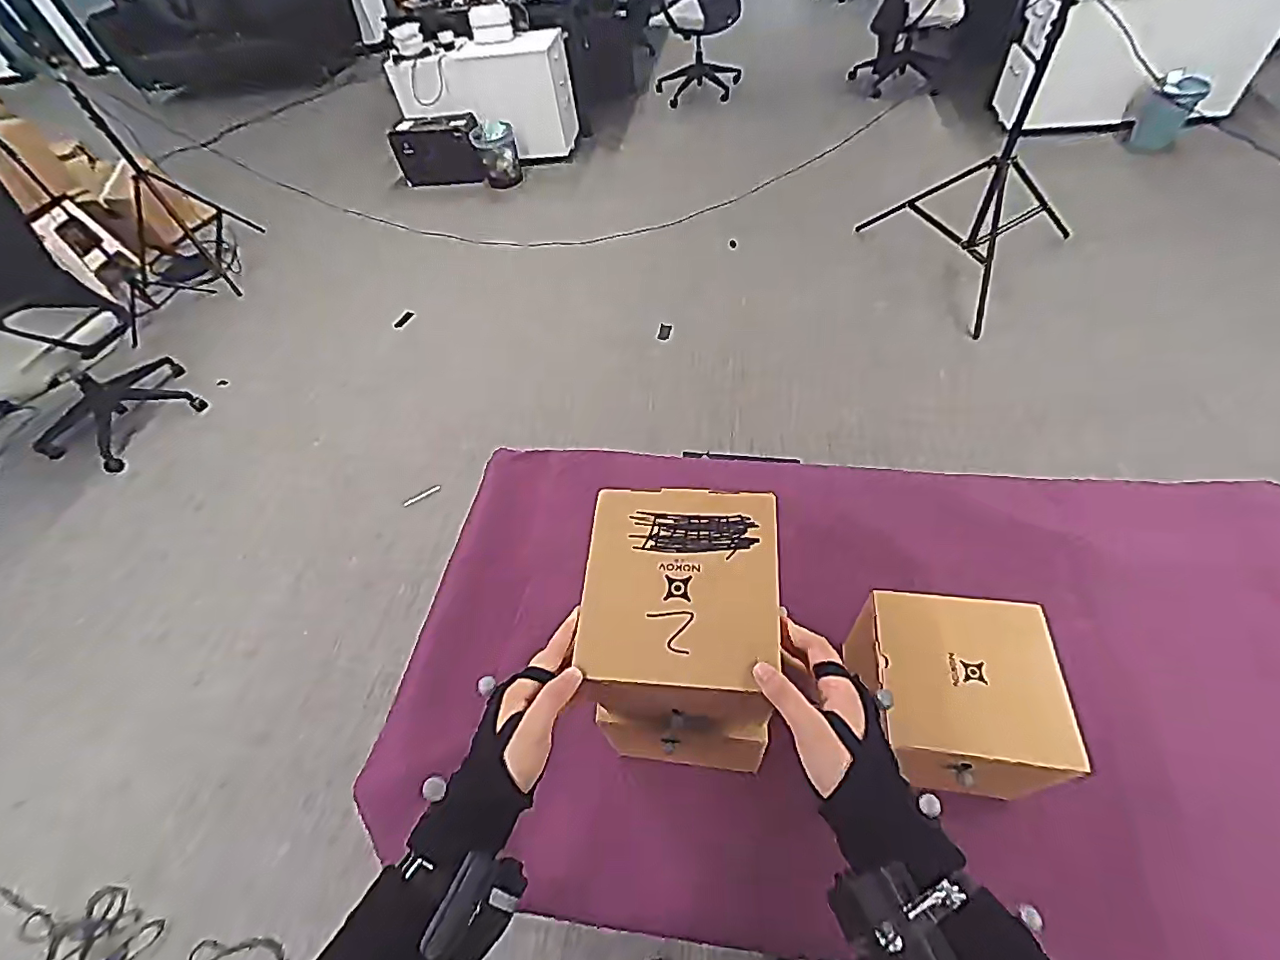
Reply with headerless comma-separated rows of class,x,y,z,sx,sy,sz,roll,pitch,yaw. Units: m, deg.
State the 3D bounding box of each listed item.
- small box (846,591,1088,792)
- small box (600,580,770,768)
small box,0.345,0.243,0.615,0.179,0.176,0.168,3,53,11
small box,0.063,0.238,0.657,0.179,0.176,0.168,3,54,10
